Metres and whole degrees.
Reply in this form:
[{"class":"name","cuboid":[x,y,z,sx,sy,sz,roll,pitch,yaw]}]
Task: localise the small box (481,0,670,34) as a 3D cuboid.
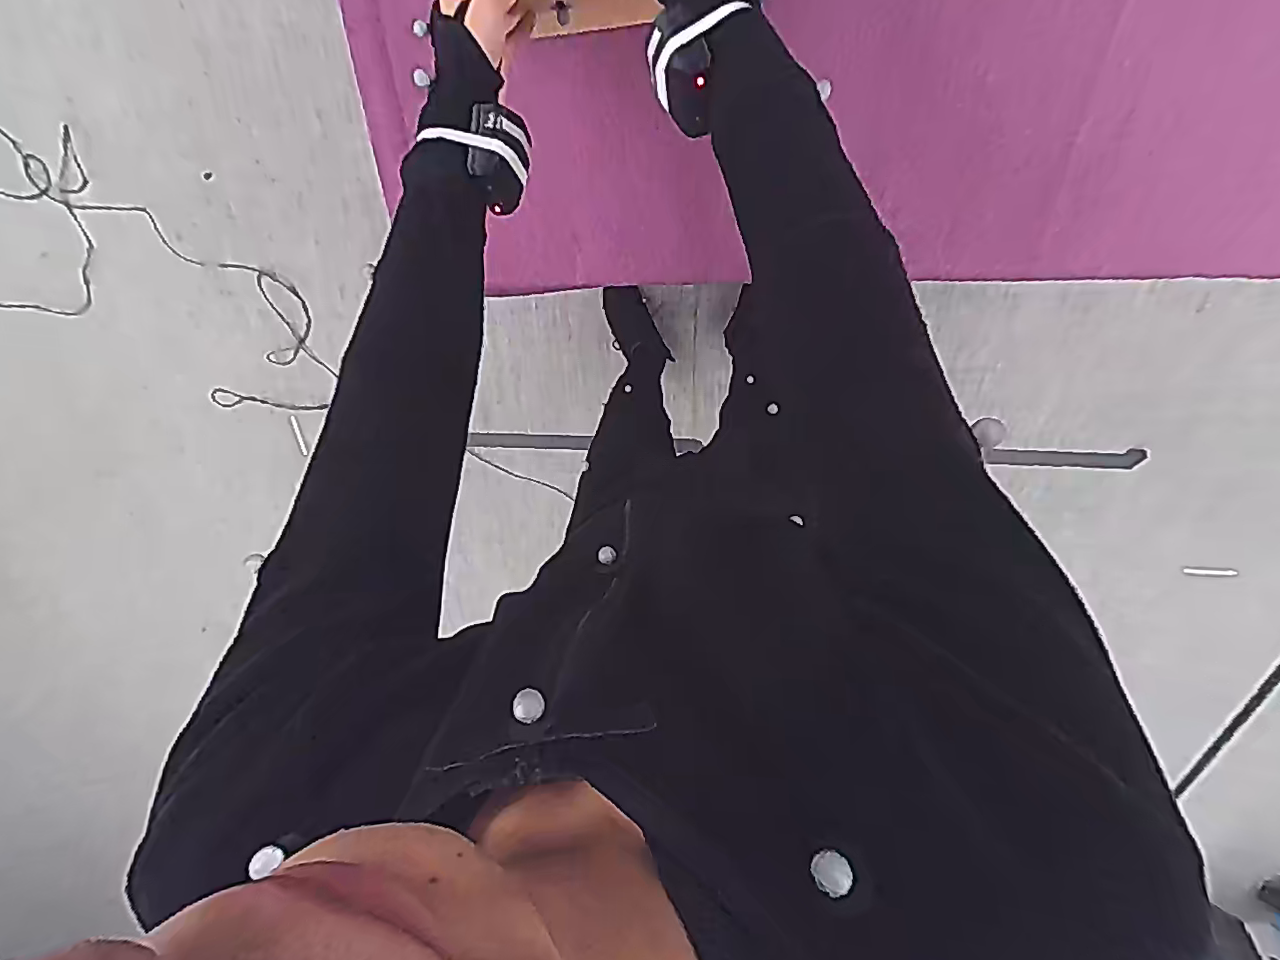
[{"class":"small box","cuboid":[-0.065,-0.516,0.473,0.179,0.176,0.168,-2,121,6]}]
